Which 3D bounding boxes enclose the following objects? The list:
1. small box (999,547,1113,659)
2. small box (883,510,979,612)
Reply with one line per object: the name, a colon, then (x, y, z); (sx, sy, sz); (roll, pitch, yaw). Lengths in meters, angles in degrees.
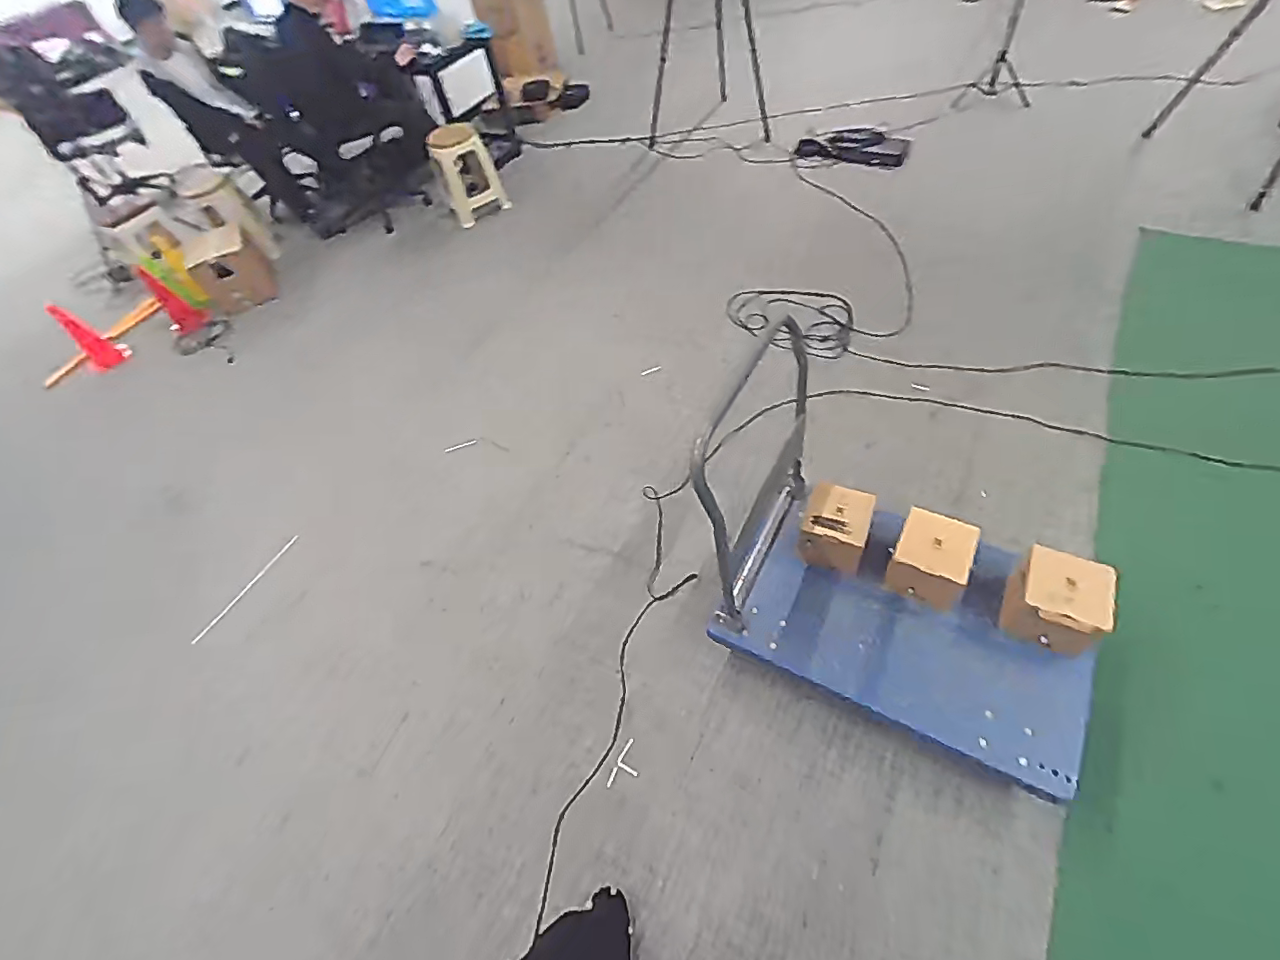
small box: (1.000, 0.299, 1.310); (0.168, 0.176, 0.179); (20, 59, 24)
small box: (0.758, 0.214, 1.422); (0.168, 0.176, 0.179); (21, 61, 23)
